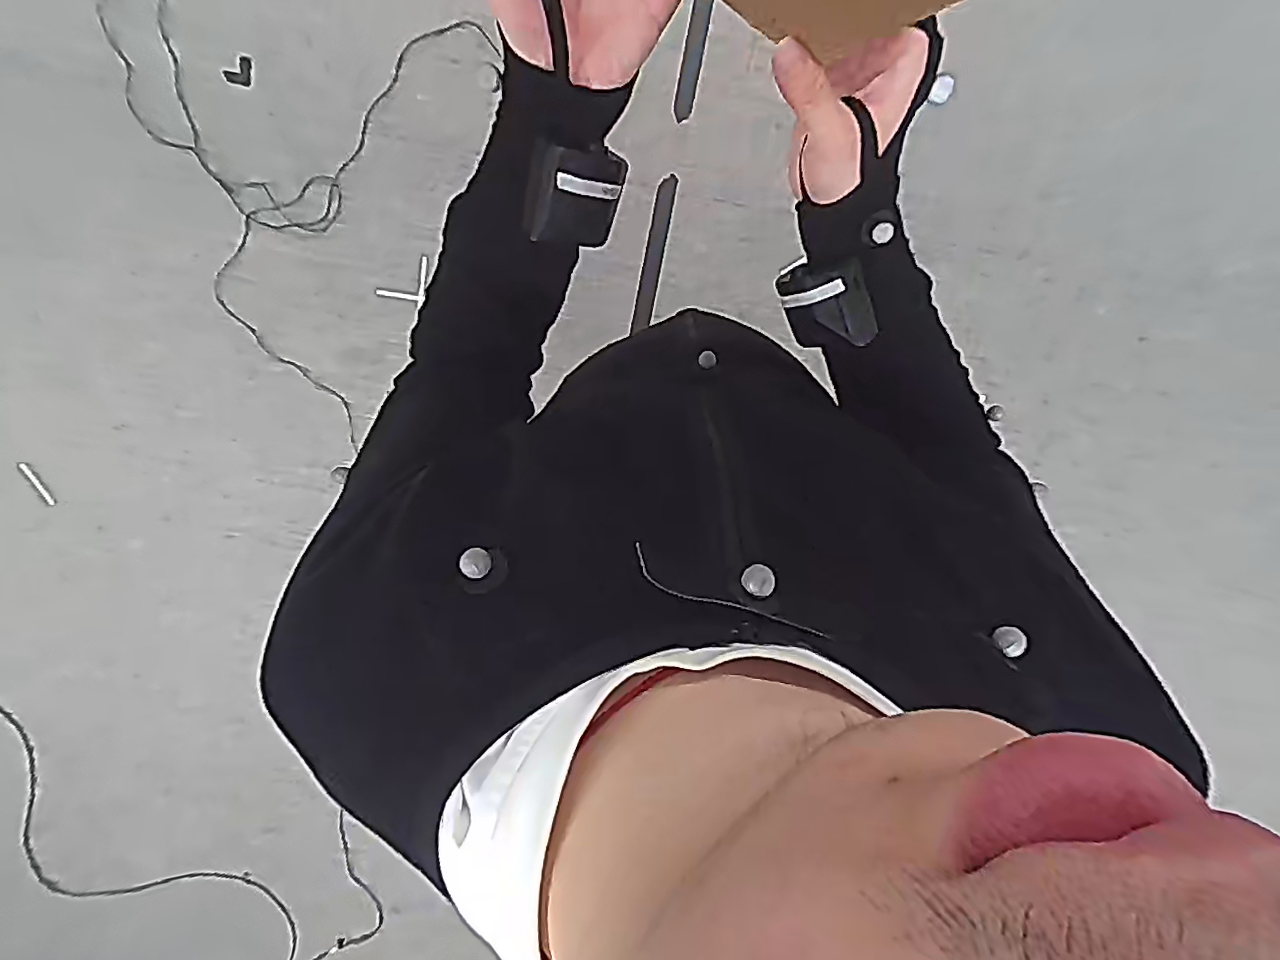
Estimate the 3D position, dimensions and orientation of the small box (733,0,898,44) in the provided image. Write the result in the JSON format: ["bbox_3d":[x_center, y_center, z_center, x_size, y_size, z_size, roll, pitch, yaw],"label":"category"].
[{"bbox_3d":[0.063,-0.279,0.167,0.179,0.176,0.168,24,118,-17],"label":"small box"}]
